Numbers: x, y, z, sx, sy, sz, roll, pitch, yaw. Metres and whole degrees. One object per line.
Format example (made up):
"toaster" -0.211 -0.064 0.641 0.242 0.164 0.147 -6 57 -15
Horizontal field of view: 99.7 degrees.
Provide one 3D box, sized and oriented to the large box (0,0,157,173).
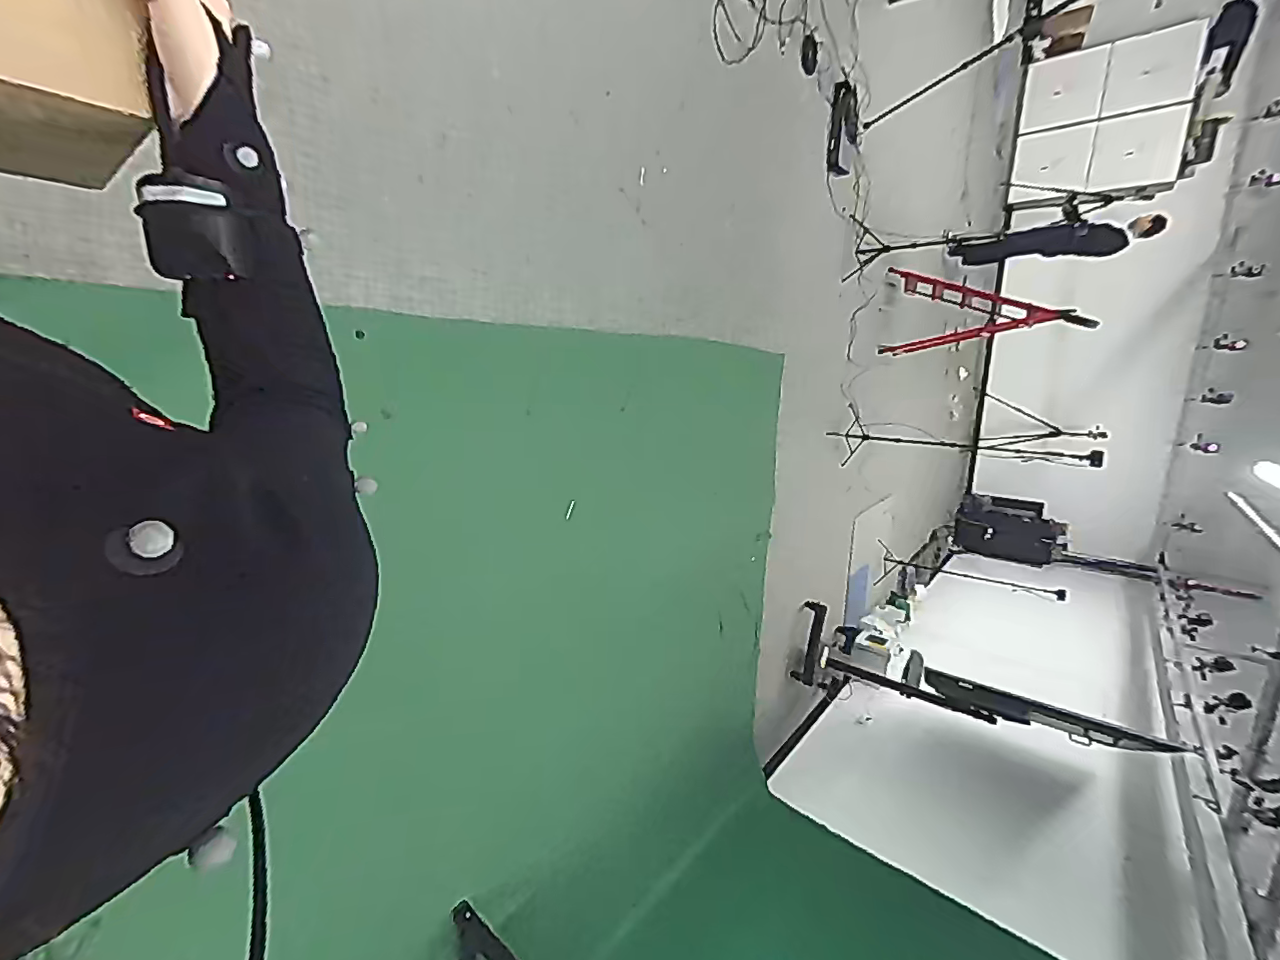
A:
"large box" -0.571 -0.402 0.282 0.408 0.320 0.320 -13 111 -50
